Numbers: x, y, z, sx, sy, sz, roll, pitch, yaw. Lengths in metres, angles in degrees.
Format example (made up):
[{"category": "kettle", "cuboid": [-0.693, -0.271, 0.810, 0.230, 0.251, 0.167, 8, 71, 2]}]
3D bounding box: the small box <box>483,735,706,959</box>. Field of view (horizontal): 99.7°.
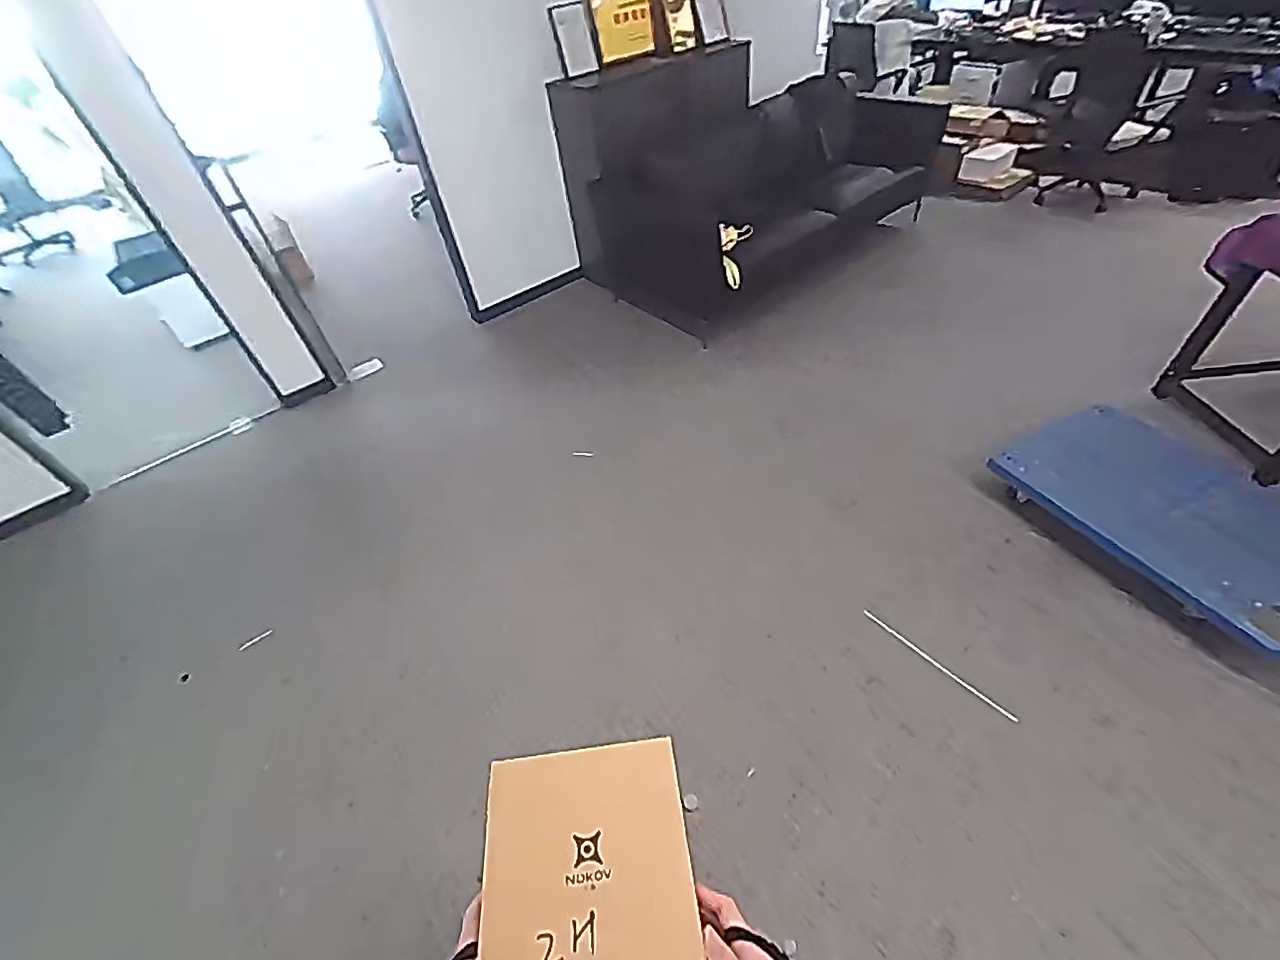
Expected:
[{"category": "small box", "cuboid": [-0.038, 0.362, 0.496, 0.168, 0.176, 0.179, -5, 45, -3]}]
